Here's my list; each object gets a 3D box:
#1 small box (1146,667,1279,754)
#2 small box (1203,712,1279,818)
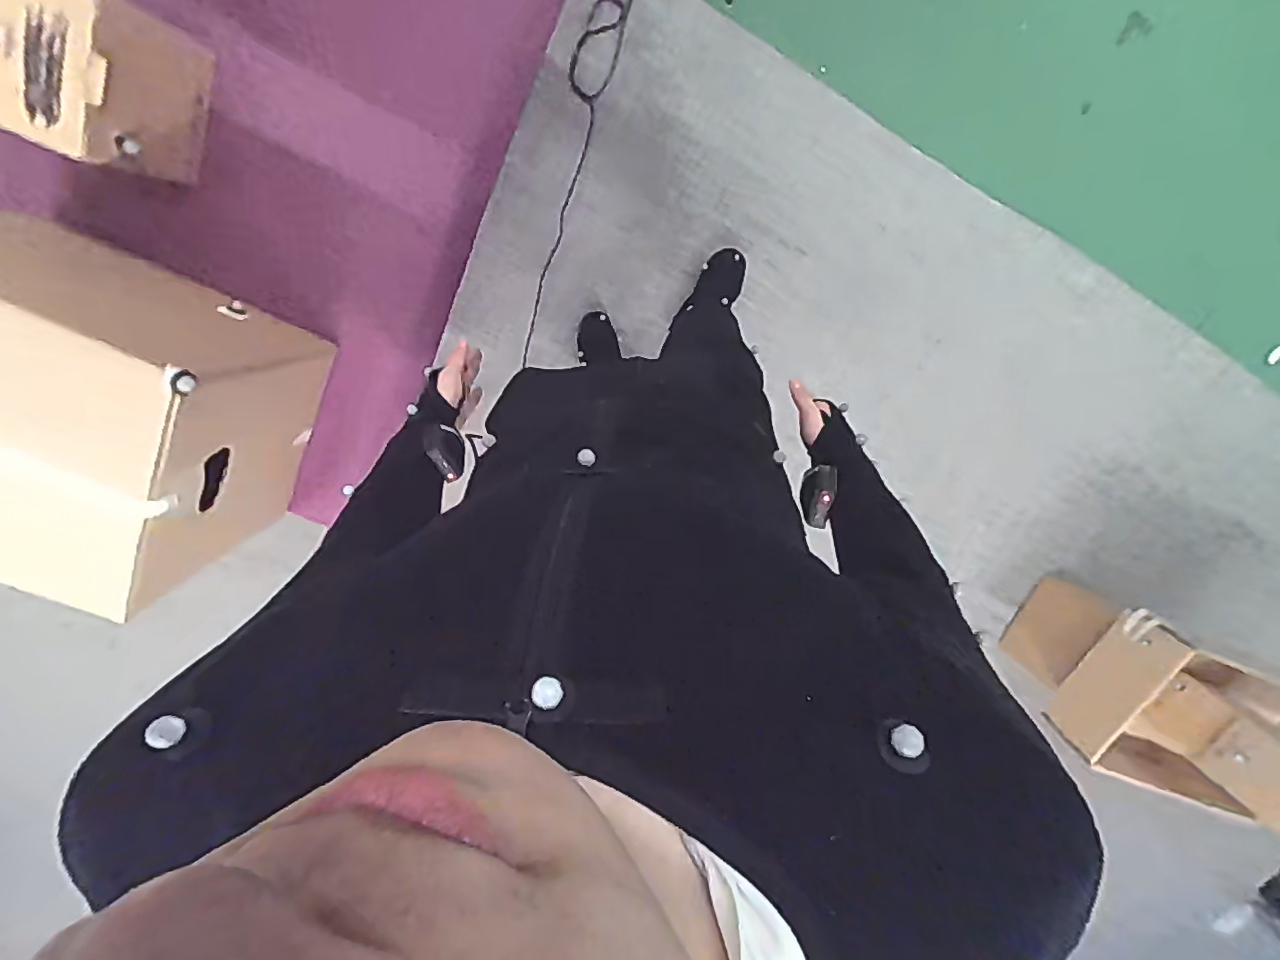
[{"bbox_3d":[1.511,0.623,1.420,0.179,0.176,0.168,22,107,-12],"label":"small box"},{"bbox_3d":[1.509,0.676,1.264,0.179,0.176,0.168,22,107,-11],"label":"small box"}]
